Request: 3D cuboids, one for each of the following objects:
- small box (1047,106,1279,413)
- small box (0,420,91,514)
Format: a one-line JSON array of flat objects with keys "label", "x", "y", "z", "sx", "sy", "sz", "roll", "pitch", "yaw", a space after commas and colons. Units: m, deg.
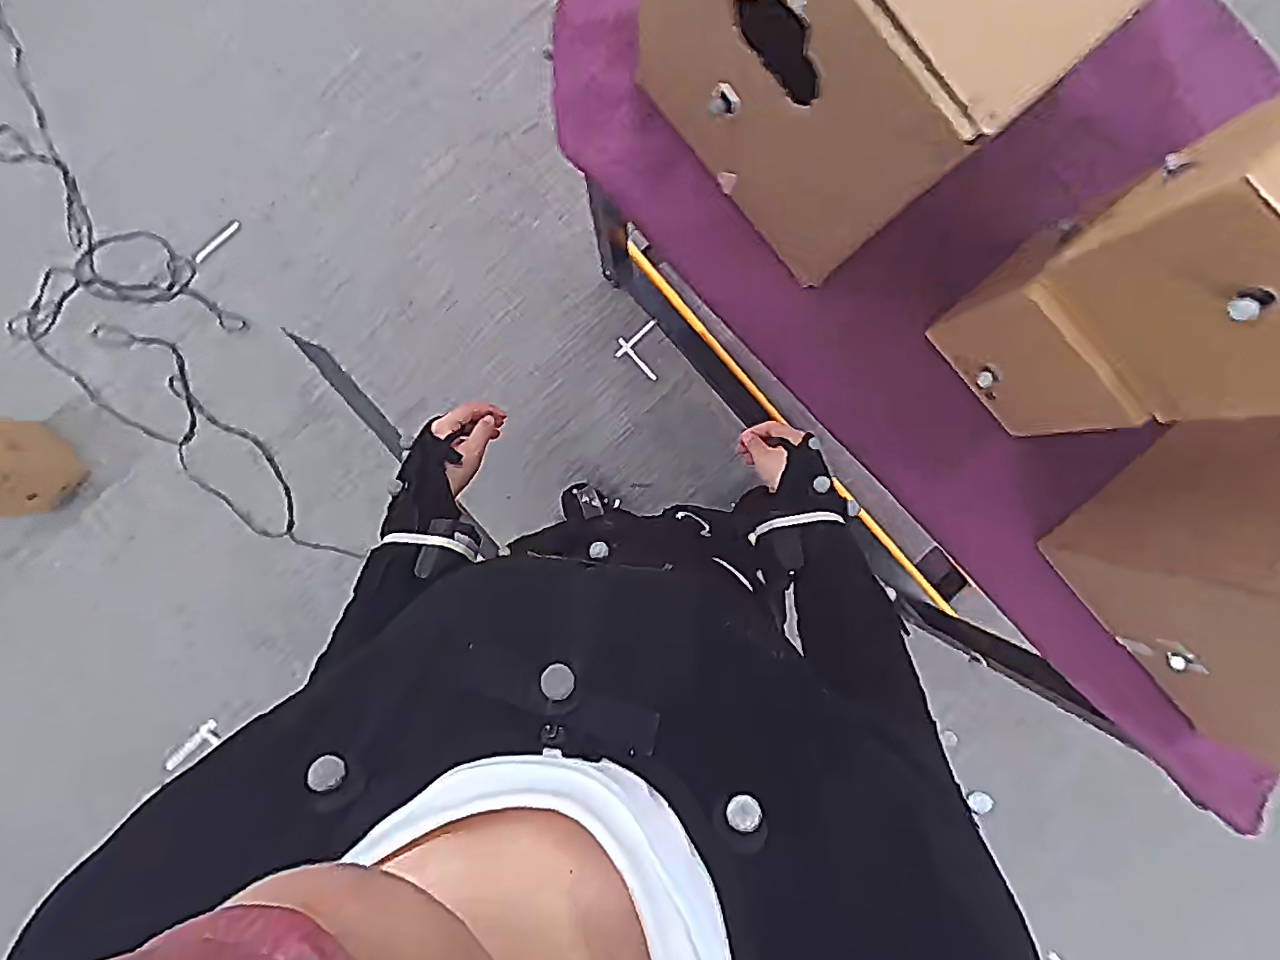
[{"label": "small box", "x": 0.466, "y": -0.163, "z": 0.395, "sx": 0.168, "sy": 0.176, "sz": 0.179, "roll": -41, "pitch": 90, "yaw": 1}, {"label": "small box", "x": -1.496, "y": -0.034, "z": 1.289, "sx": 0.168, "sy": 0.176, "sz": 0.179, "roll": -43, "pitch": 91, "yaw": 1}]
